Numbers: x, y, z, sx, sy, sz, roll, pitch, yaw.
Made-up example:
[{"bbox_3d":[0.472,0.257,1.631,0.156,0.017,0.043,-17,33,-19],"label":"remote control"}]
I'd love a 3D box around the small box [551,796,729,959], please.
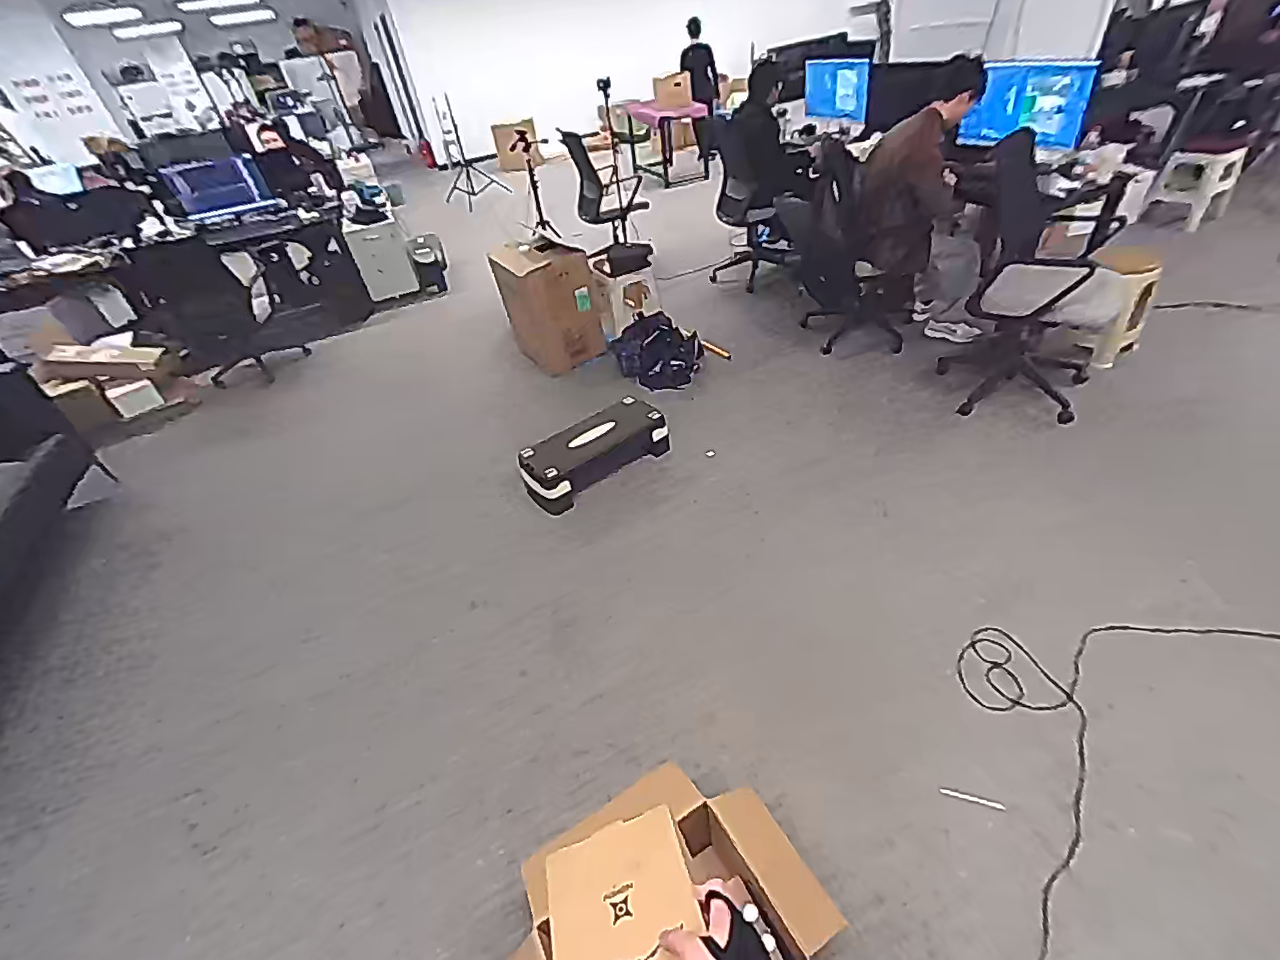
[{"bbox_3d":[0.004,0.531,0.640,0.168,0.176,0.179,-21,25,-6],"label":"small box"}]
